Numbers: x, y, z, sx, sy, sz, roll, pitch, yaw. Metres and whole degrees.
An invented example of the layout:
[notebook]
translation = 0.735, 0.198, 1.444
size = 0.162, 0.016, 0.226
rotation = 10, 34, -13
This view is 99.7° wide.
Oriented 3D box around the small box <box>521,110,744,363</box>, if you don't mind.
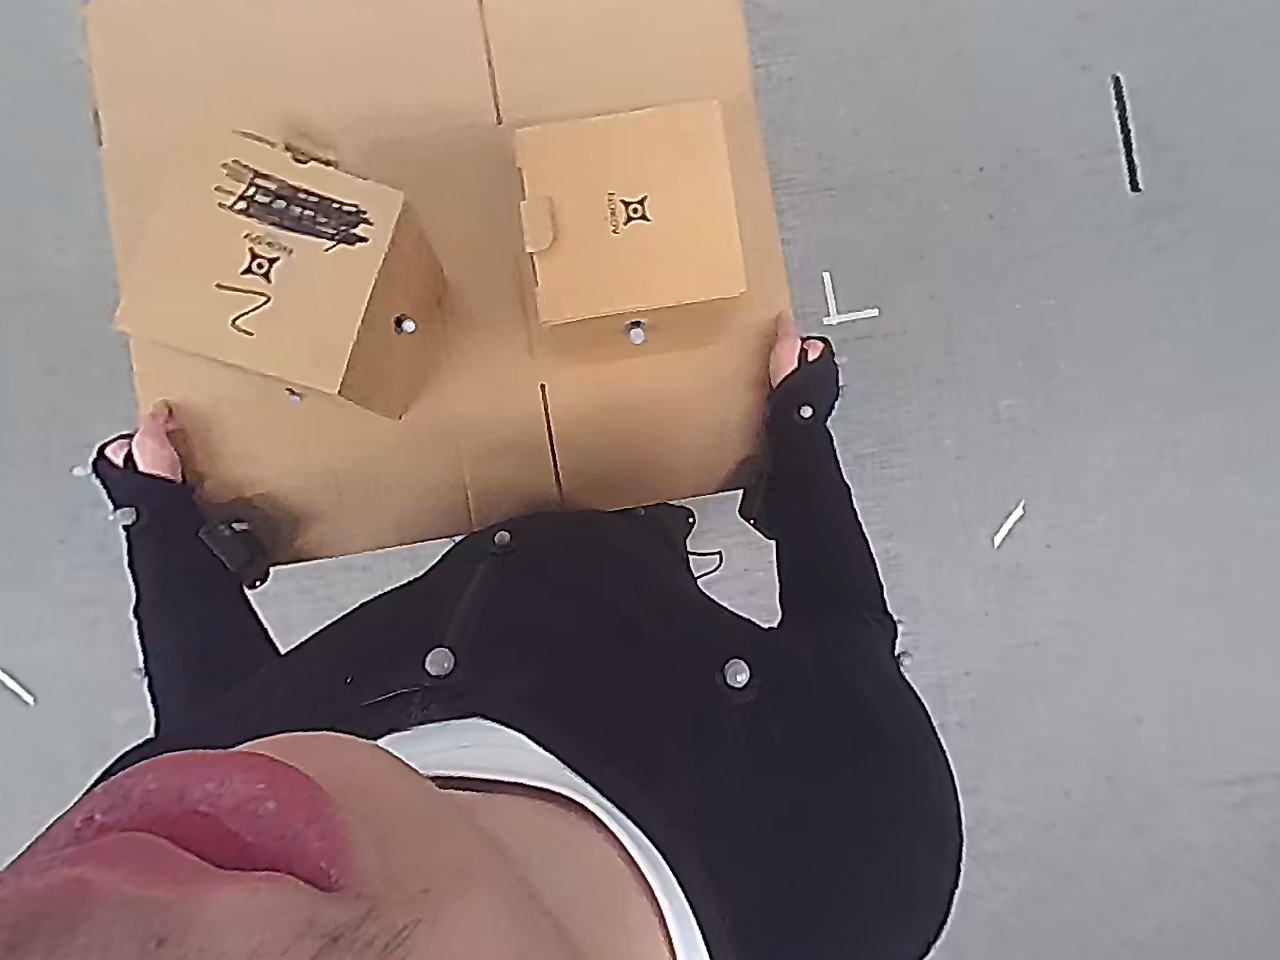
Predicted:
[small box]
translation = -0.006, -0.225, 0.543
size = 0.179, 0.176, 0.168
rotation = -9, 89, 1
